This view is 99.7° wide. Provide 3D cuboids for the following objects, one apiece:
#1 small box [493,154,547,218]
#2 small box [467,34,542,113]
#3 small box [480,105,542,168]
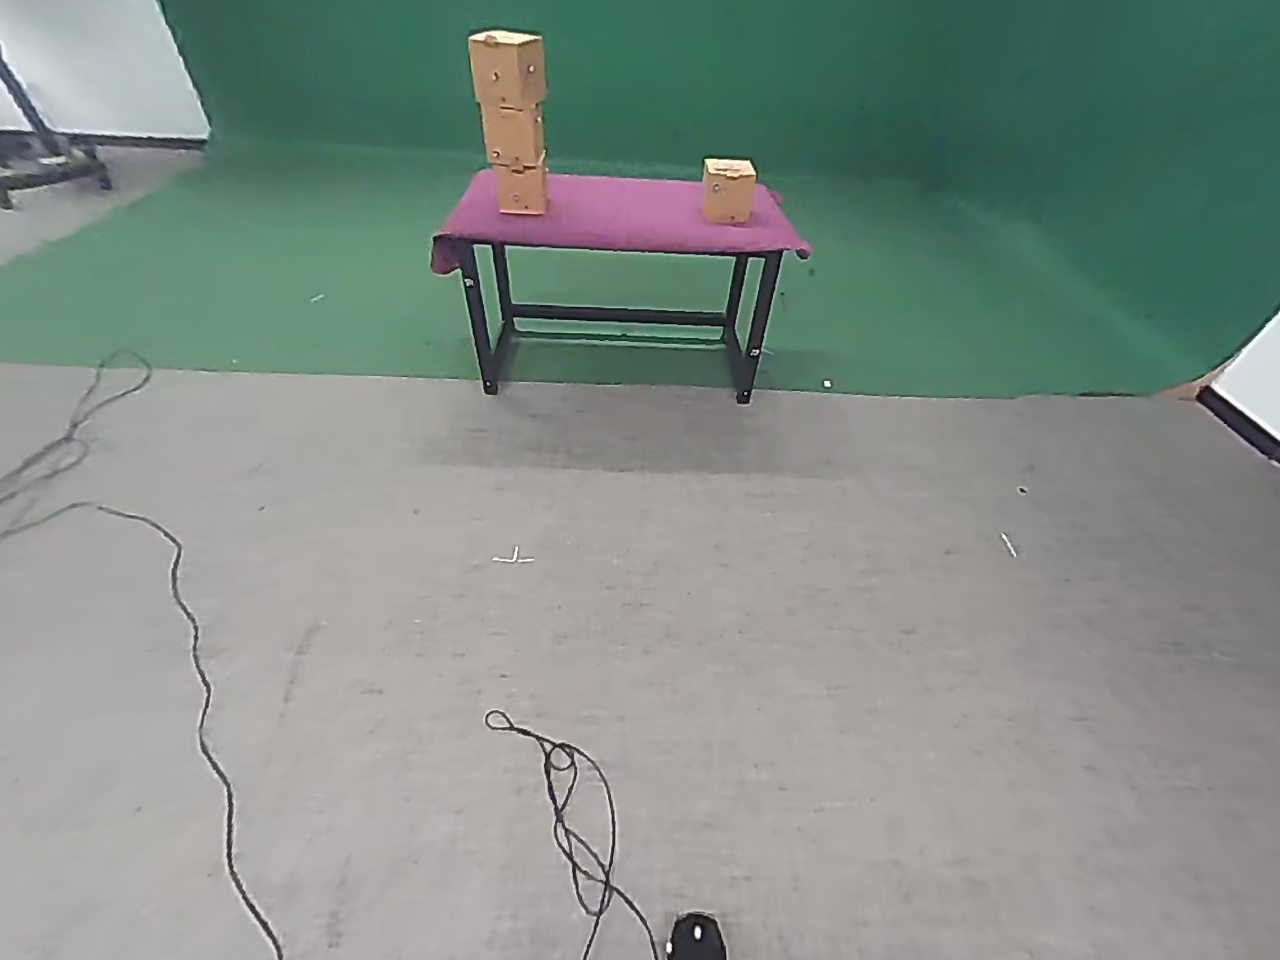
[{"bbox_3d":[-0.432,-1.080,1.974,0.168,0.176,0.179,1,47,-4],"label":"small box"},{"bbox_3d":[-0.422,-1.299,1.729,0.168,0.176,0.179,17,49,10],"label":"small box"},{"bbox_3d":[-0.431,-1.183,1.845,0.168,0.176,0.179,4,46,-1],"label":"small box"}]
